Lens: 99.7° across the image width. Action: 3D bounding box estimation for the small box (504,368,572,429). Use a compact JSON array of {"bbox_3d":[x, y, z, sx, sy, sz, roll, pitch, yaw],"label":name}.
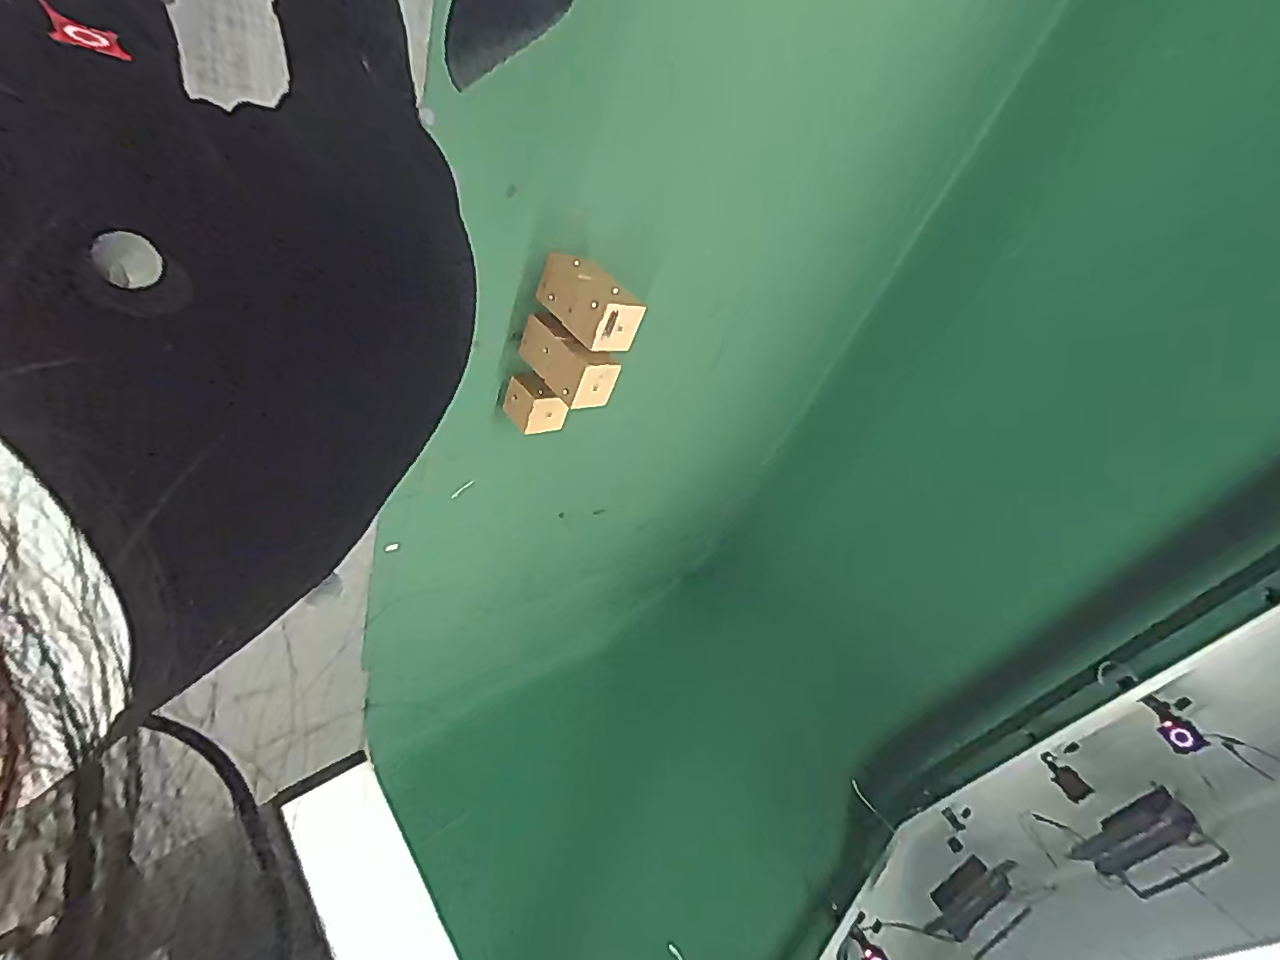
[{"bbox_3d":[-0.397,-0.321,2.094,0.179,0.176,0.168,-15,143,-43],"label":"small box"}]
